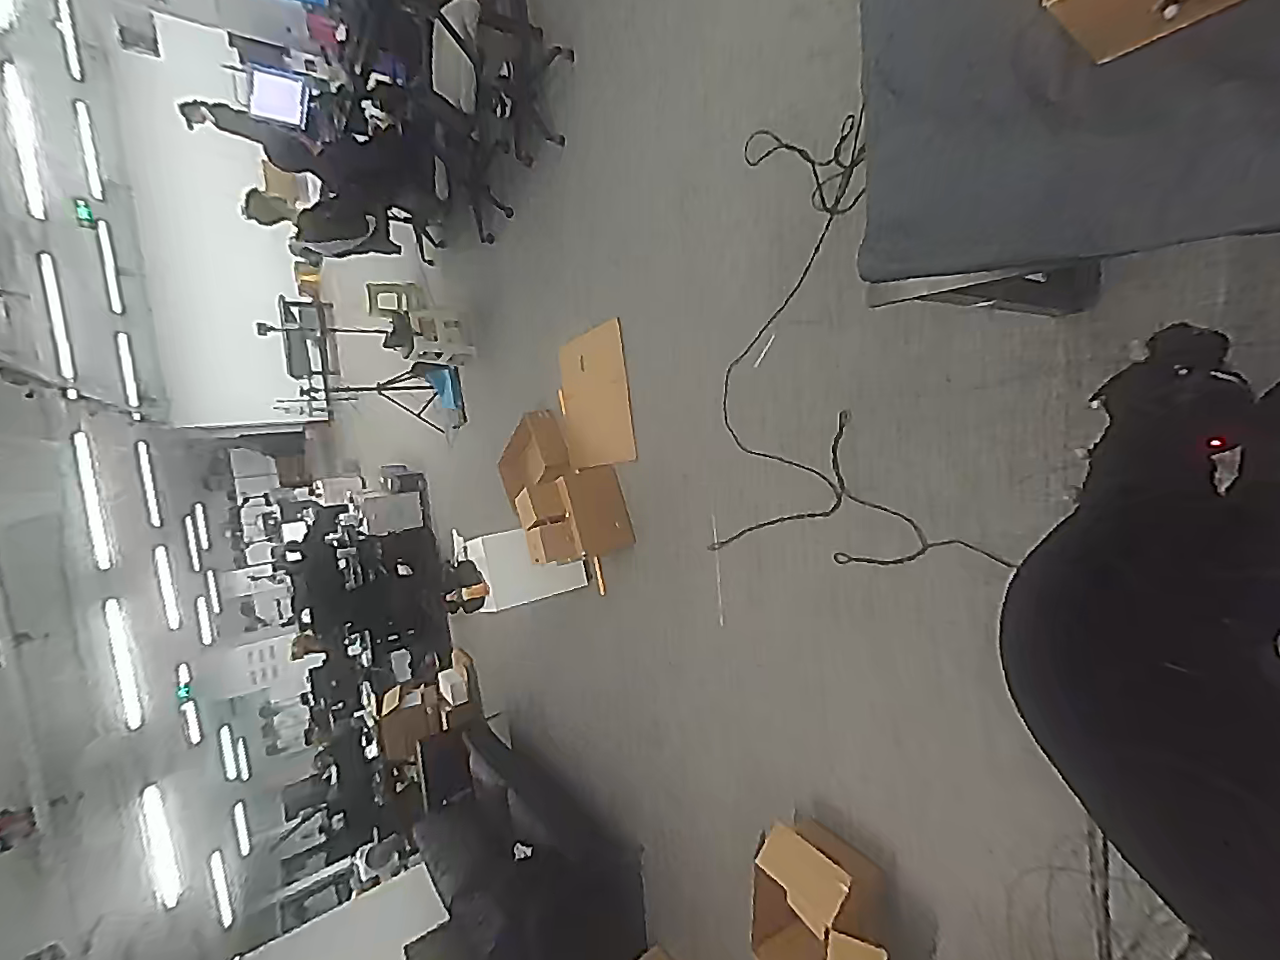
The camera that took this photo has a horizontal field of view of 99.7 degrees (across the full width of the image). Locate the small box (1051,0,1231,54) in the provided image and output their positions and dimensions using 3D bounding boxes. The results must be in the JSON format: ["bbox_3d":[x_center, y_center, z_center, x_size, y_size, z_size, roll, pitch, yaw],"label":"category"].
[{"bbox_3d":[0.478,-0.533,0.474,0.168,0.176,0.179,3,100,54],"label":"small box"}]
